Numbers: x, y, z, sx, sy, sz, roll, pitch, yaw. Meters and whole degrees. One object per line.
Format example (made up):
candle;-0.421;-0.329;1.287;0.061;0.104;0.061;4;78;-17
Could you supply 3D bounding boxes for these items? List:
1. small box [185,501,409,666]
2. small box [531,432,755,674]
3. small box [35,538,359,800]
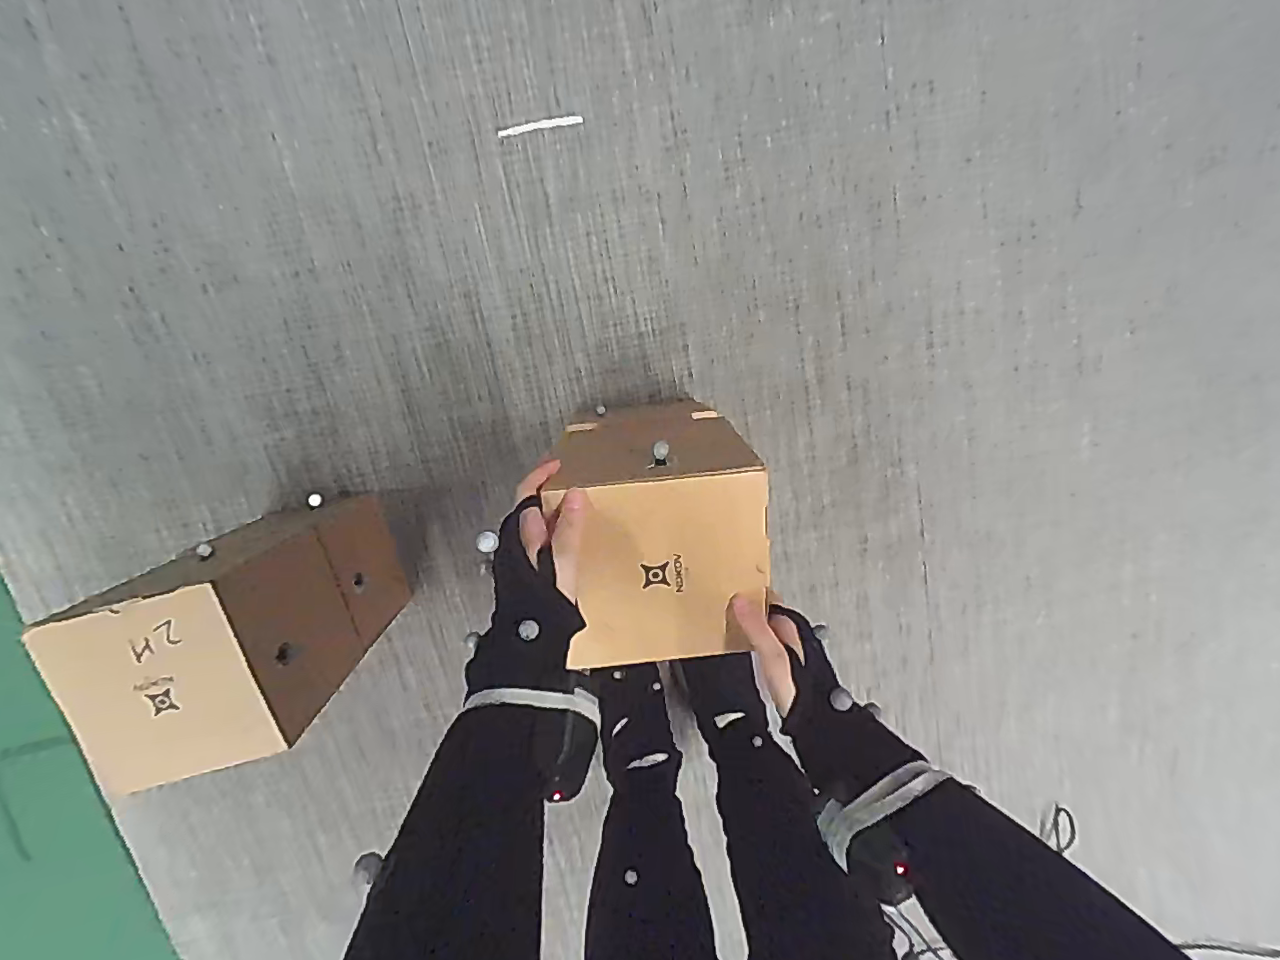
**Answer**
small box;-0.436;0.144;0.723;0.168;0.176;0.179;-13;102;-1
small box;0.004;0.058;0.517;0.179;0.176;0.168;-6;110;-2
small box;-0.429;0.181;0.563;0.168;0.176;0.179;-15;102;-1
